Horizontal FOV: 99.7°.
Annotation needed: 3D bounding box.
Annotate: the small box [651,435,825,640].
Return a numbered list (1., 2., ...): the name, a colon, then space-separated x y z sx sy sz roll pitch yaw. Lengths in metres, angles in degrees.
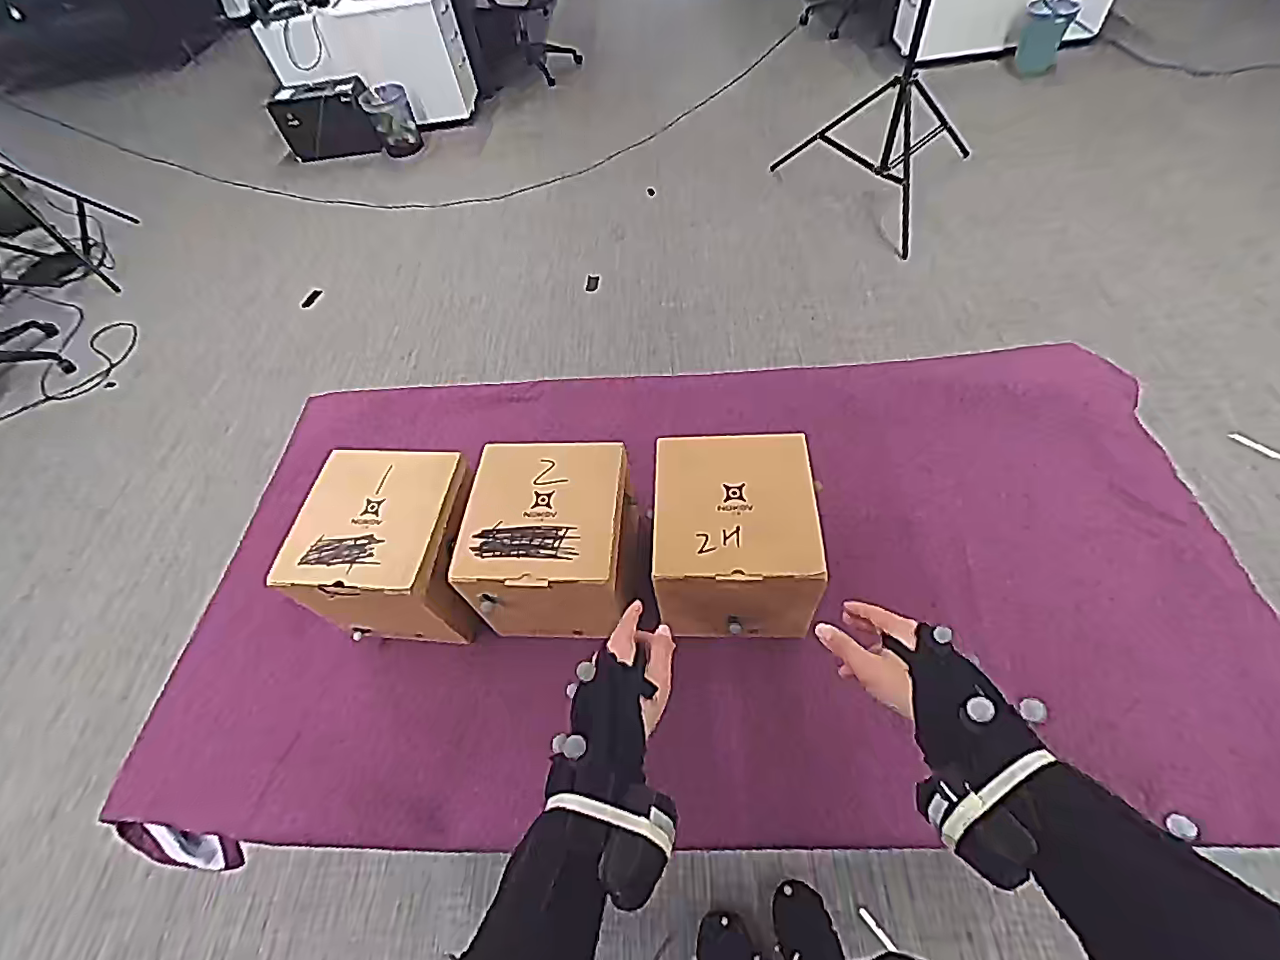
1. small box: 0.104 0.069 0.623 0.168 0.176 0.179 -2 54 7
